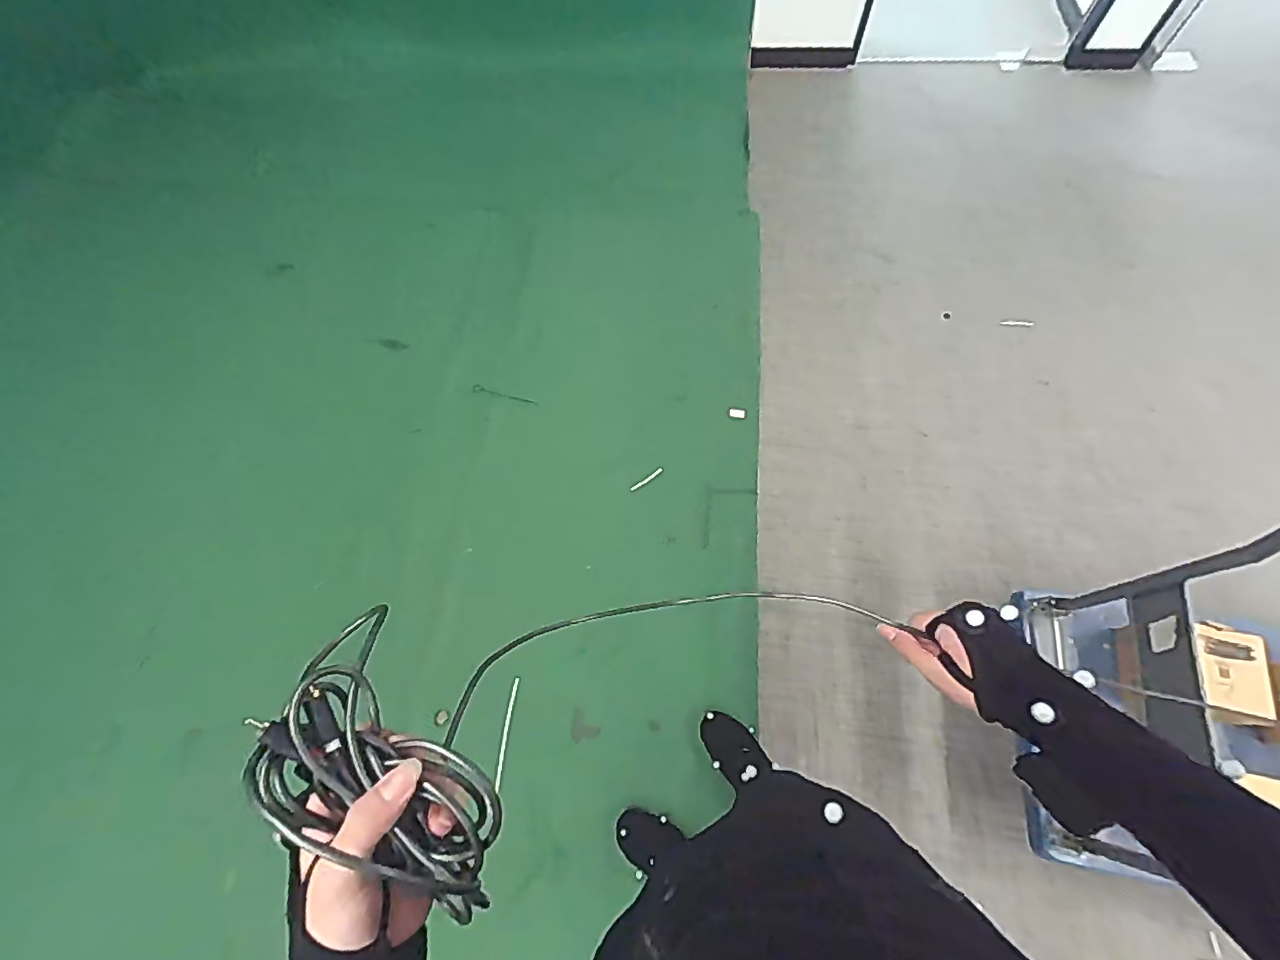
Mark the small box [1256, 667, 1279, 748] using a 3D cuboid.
[{"bbox_3d":[1.452,0.481,1.118,0.179,0.176,0.168,6,67,5],"label":"small box"}]
